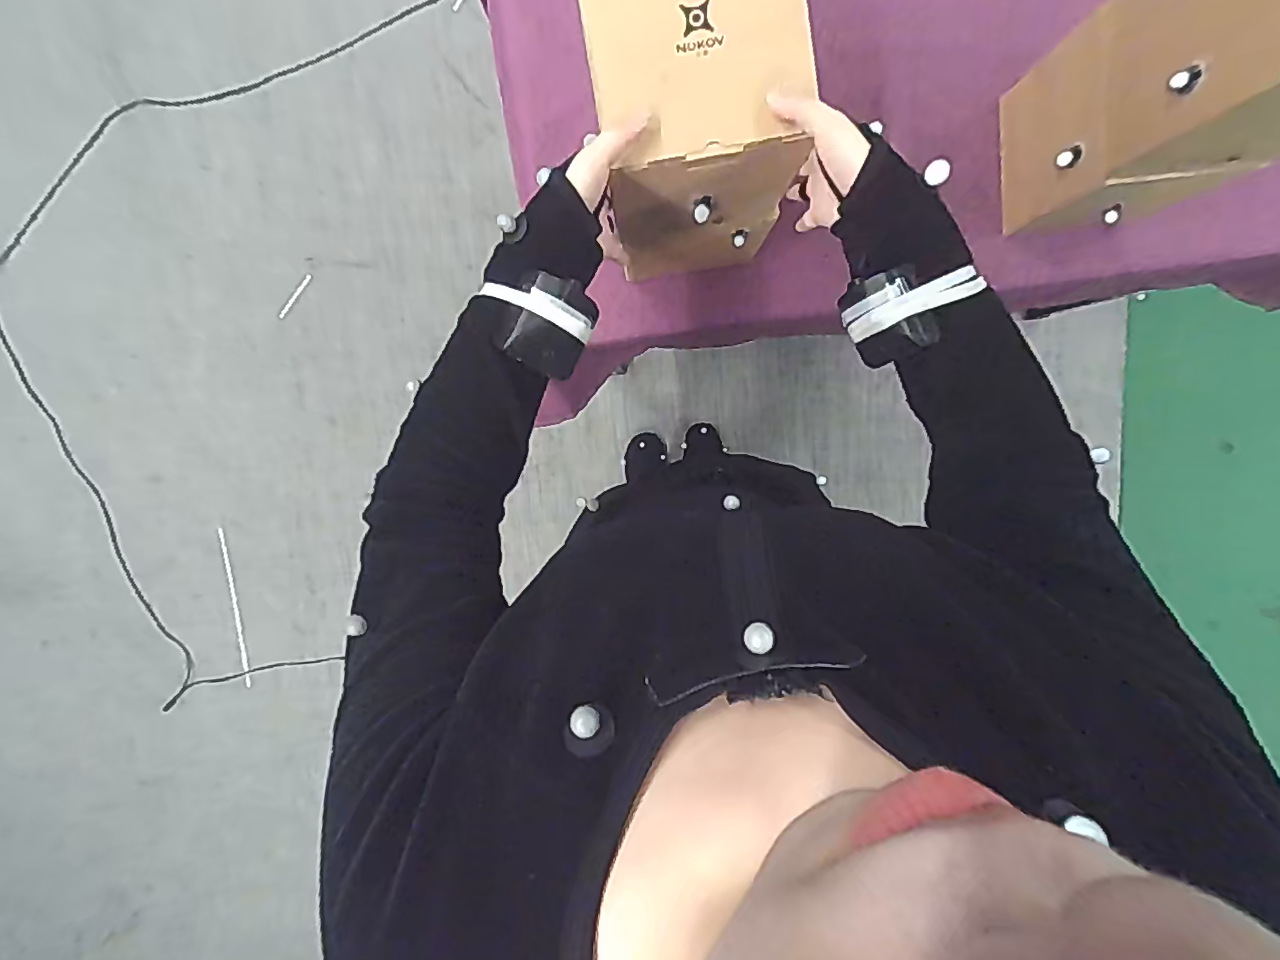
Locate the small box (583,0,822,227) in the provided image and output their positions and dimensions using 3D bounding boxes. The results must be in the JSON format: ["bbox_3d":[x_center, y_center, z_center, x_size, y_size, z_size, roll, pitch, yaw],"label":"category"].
[{"bbox_3d":[0.046,-0.343,0.477,0.168,0.176,0.179,-10,97,1],"label":"small box"}]

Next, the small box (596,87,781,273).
[{"bbox_3d":[0.054,-0.359,0.641,0.179,0.176,0.168,-9,96,2],"label":"small box"}]

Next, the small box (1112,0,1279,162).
[{"bbox_3d":[0.549,-0.393,0.457,0.168,0.176,0.179,-4,96,2],"label":"small box"}]

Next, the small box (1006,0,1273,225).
[{"bbox_3d":[0.554,-0.409,0.620,0.168,0.176,0.179,-5,96,2],"label":"small box"}]
